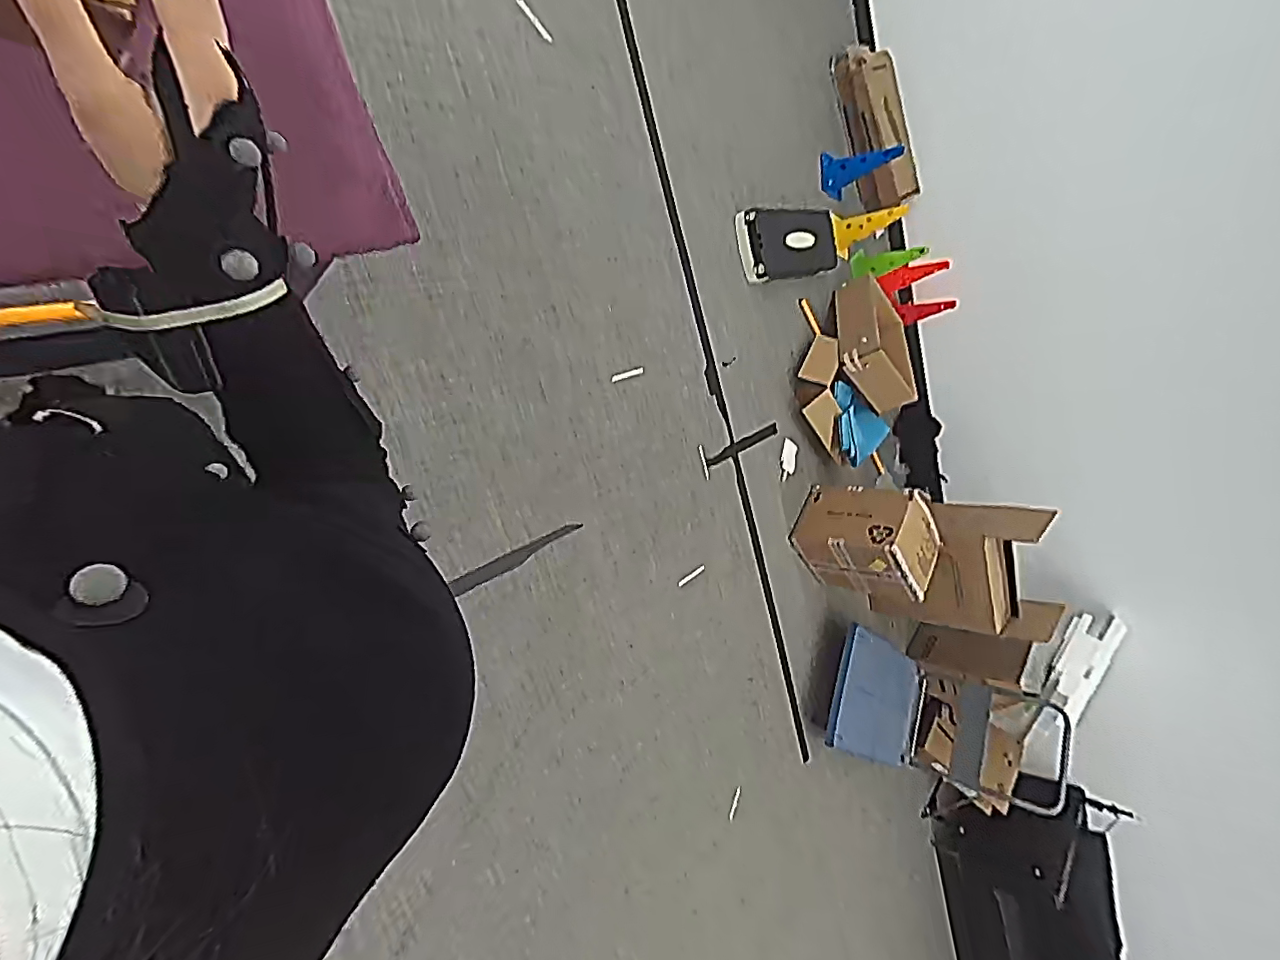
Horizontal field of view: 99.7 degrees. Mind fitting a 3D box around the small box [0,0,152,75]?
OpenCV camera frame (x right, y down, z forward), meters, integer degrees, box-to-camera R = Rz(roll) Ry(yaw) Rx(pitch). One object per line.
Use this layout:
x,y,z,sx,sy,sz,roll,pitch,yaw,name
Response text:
-0.302,-0.294,0.202,0.168,0.176,0.179,-4,113,-44,small box
